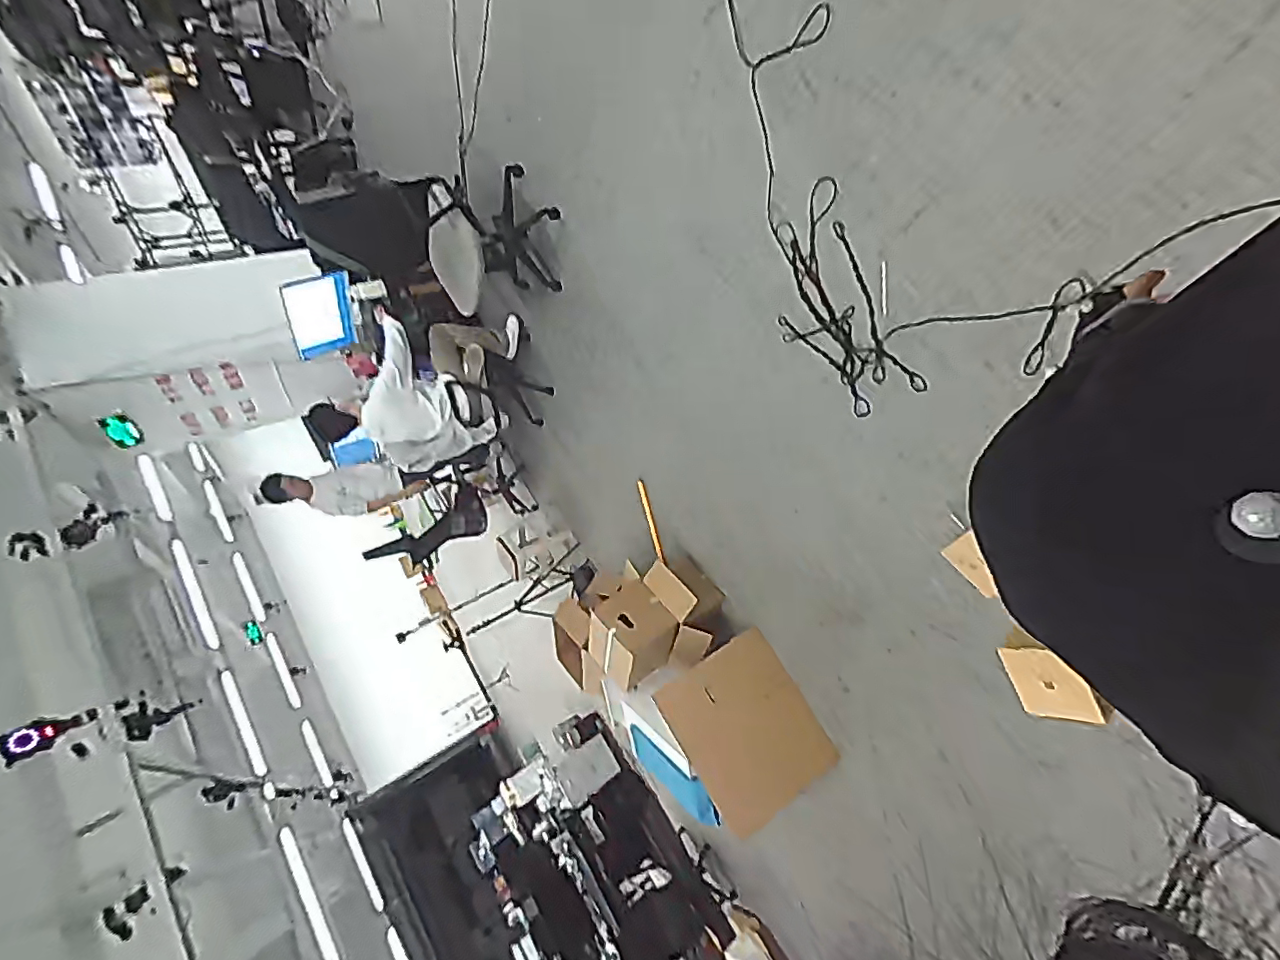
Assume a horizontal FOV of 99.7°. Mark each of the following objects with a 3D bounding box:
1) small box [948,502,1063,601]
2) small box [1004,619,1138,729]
[{"bbox_3d":[0.979,0.187,1.441,0.168,0.176,0.179,52,147,22],"label":"small box"},{"bbox_3d":[1.008,0.444,1.263,0.168,0.176,0.179,-28,86,60],"label":"small box"}]
